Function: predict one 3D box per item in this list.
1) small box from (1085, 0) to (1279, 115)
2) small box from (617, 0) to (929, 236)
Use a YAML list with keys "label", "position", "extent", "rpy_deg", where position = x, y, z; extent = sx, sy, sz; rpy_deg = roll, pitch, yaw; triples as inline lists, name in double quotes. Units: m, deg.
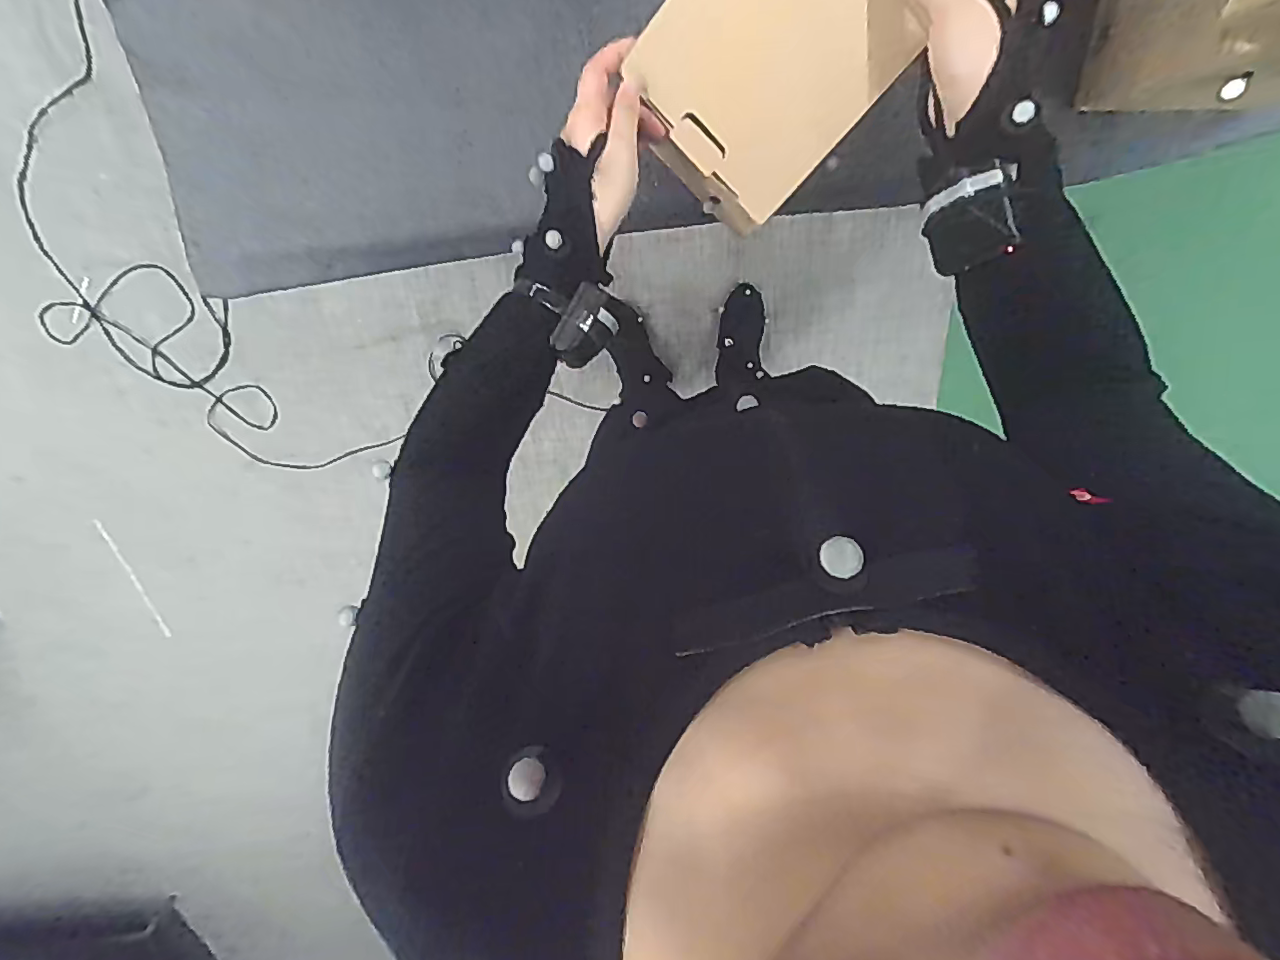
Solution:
- label: "small box"
  position: [0.529, -0.418, 0.447]
  extent: [0.179, 0.176, 0.168]
  rpy_deg: [1, 112, 3]
- label: "small box"
  position: [0.102, -0.342, 0.479]
  extent: [0.168, 0.176, 0.179]
  rpy_deg: [42, 107, -13]
